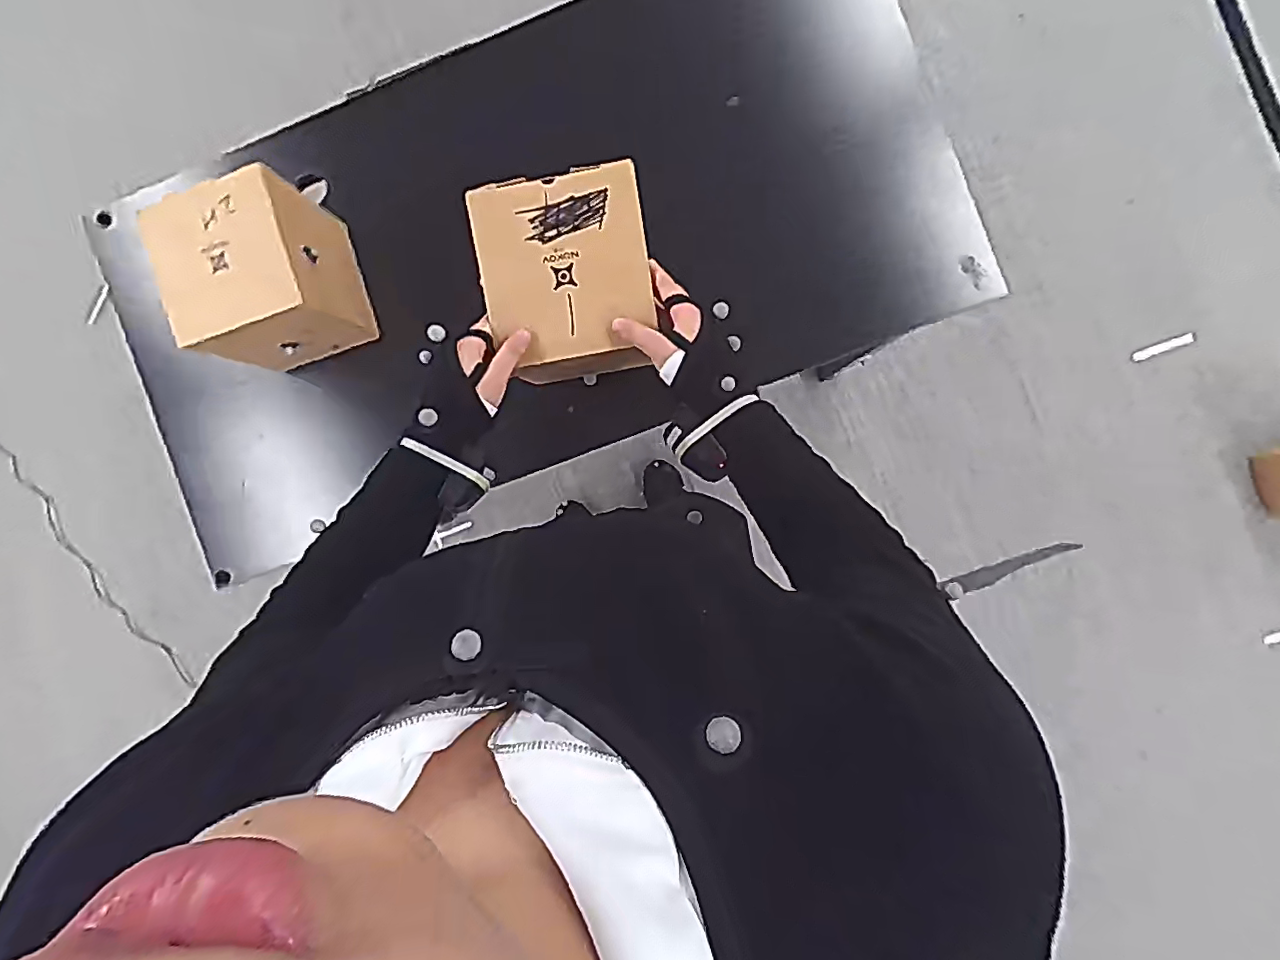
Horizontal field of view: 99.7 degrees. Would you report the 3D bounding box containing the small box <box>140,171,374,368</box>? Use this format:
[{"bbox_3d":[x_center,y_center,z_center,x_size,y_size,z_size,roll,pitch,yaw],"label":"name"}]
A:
[{"bbox_3d":[-0.488,-0.258,0.717,0.168,0.176,0.179,-18,89,4],"label":"small box"}]

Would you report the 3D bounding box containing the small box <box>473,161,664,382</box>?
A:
[{"bbox_3d":[-0.067,-0.214,0.603,0.168,0.176,0.179,-9,95,4],"label":"small box"}]

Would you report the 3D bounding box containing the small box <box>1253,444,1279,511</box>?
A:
[{"bbox_3d":[1.647,-0.012,1.283,0.168,0.176,0.179,-21,89,4],"label":"small box"}]
